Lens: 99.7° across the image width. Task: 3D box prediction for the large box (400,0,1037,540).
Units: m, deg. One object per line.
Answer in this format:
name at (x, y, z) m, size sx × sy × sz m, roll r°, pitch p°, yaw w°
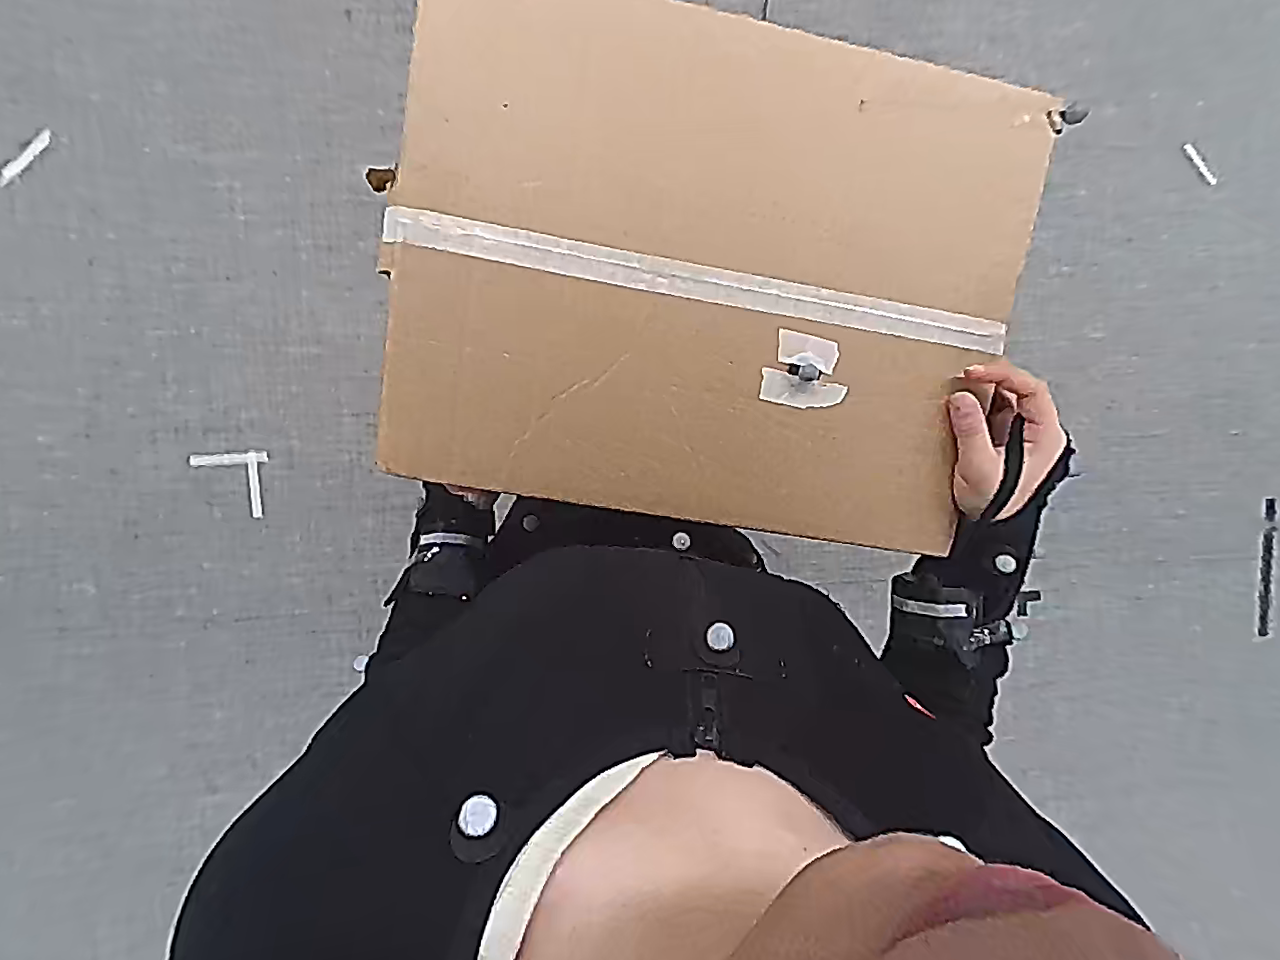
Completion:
large box at (0.038, -0.150, 0.508) m, size 0.408 × 0.320 × 0.320 m, roll 8°, pitch 99°, yaw -7°
